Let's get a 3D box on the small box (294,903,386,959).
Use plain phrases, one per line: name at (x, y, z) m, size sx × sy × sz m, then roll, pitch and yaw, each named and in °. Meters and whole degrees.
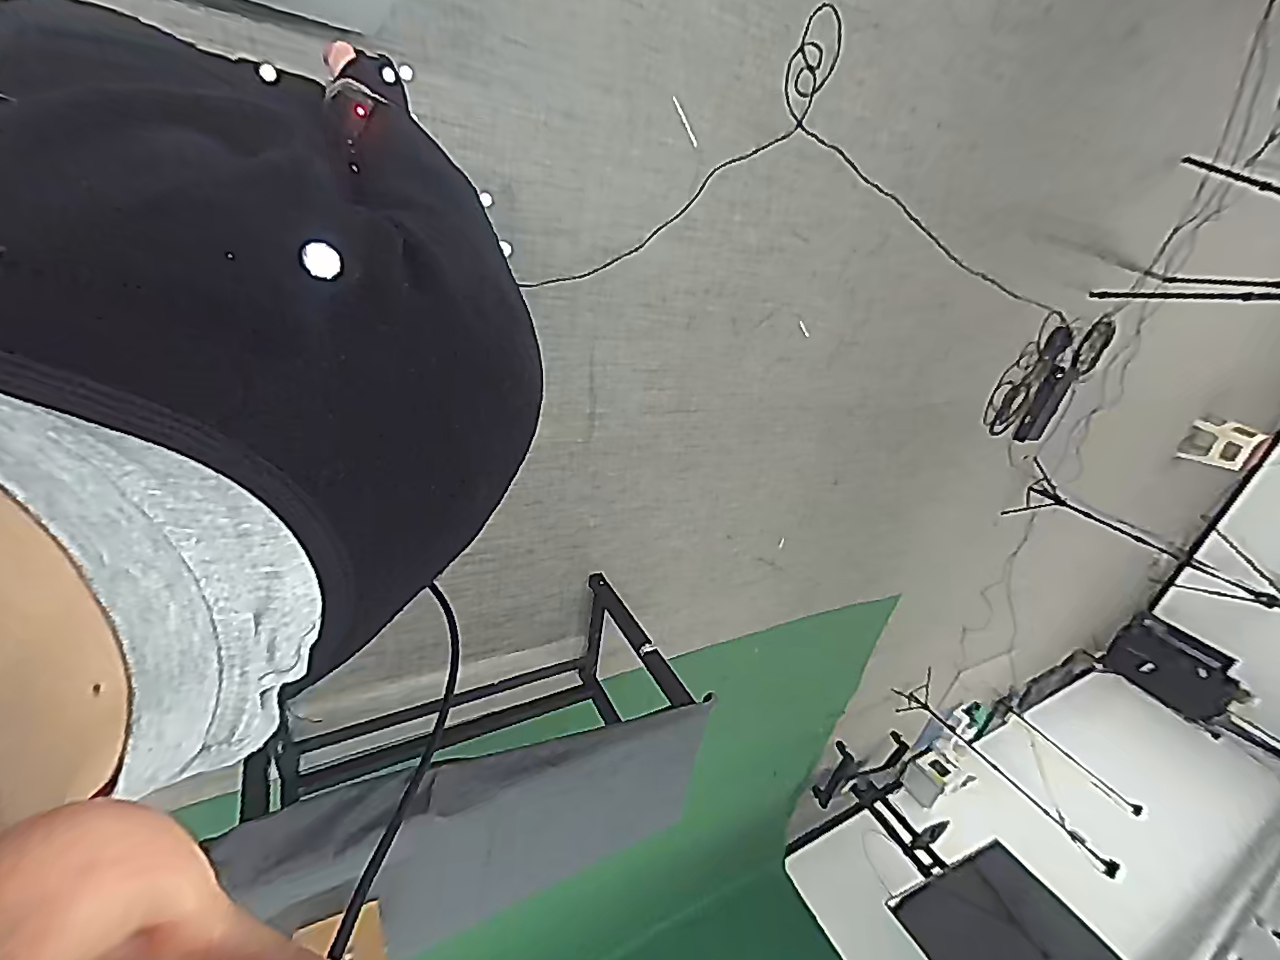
small box at (-0.686, 1.126, 1.237) m, size 0.179 × 0.176 × 0.168 m, roll -1°, pitch 118°, yaw -34°
